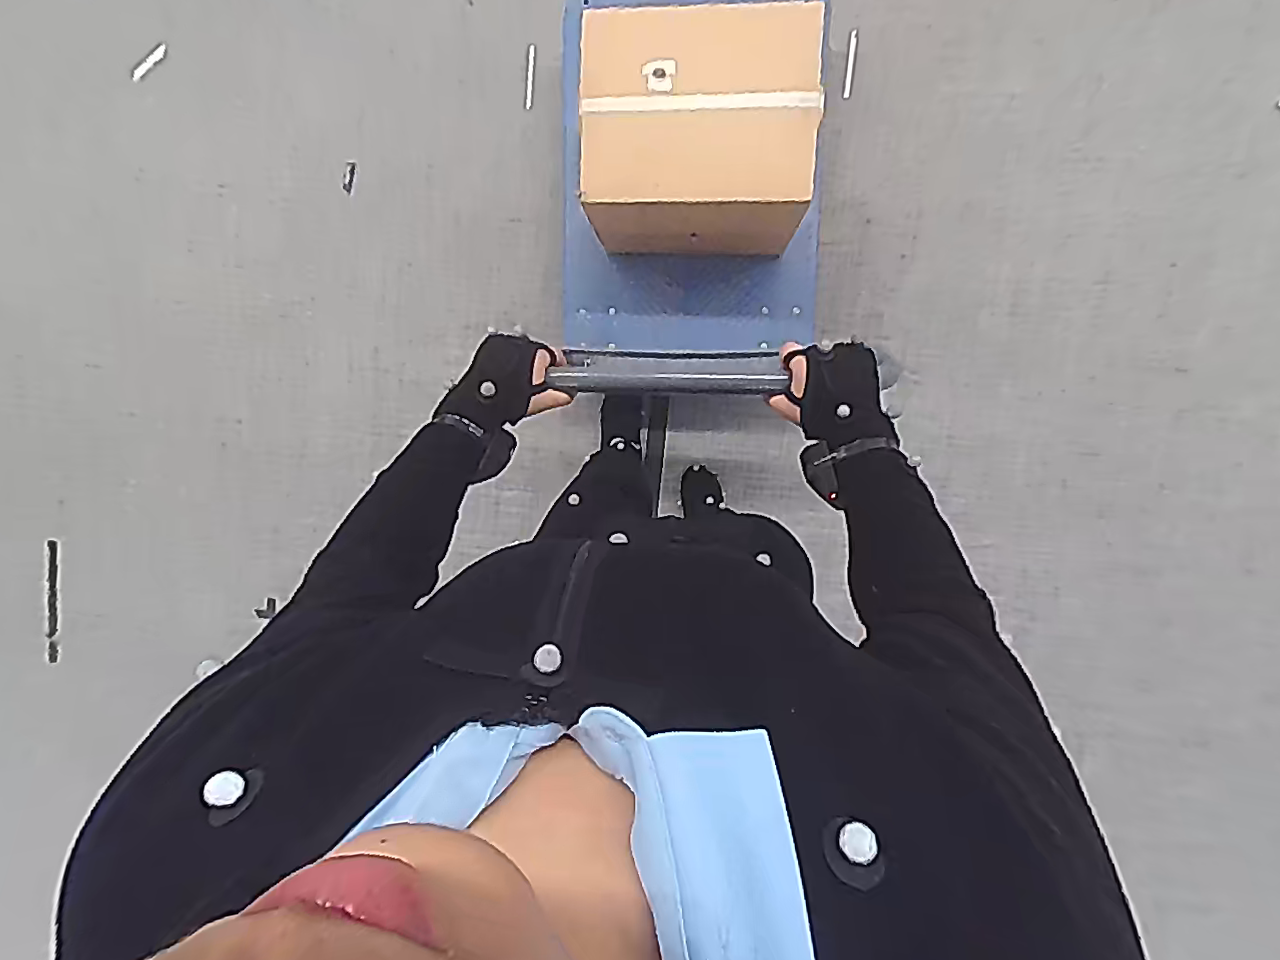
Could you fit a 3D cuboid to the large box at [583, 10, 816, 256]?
[{"bbox_3d":[0.114,-0.652,1.083,0.408,0.320,0.320,2,96,6],"label":"large box"}]
